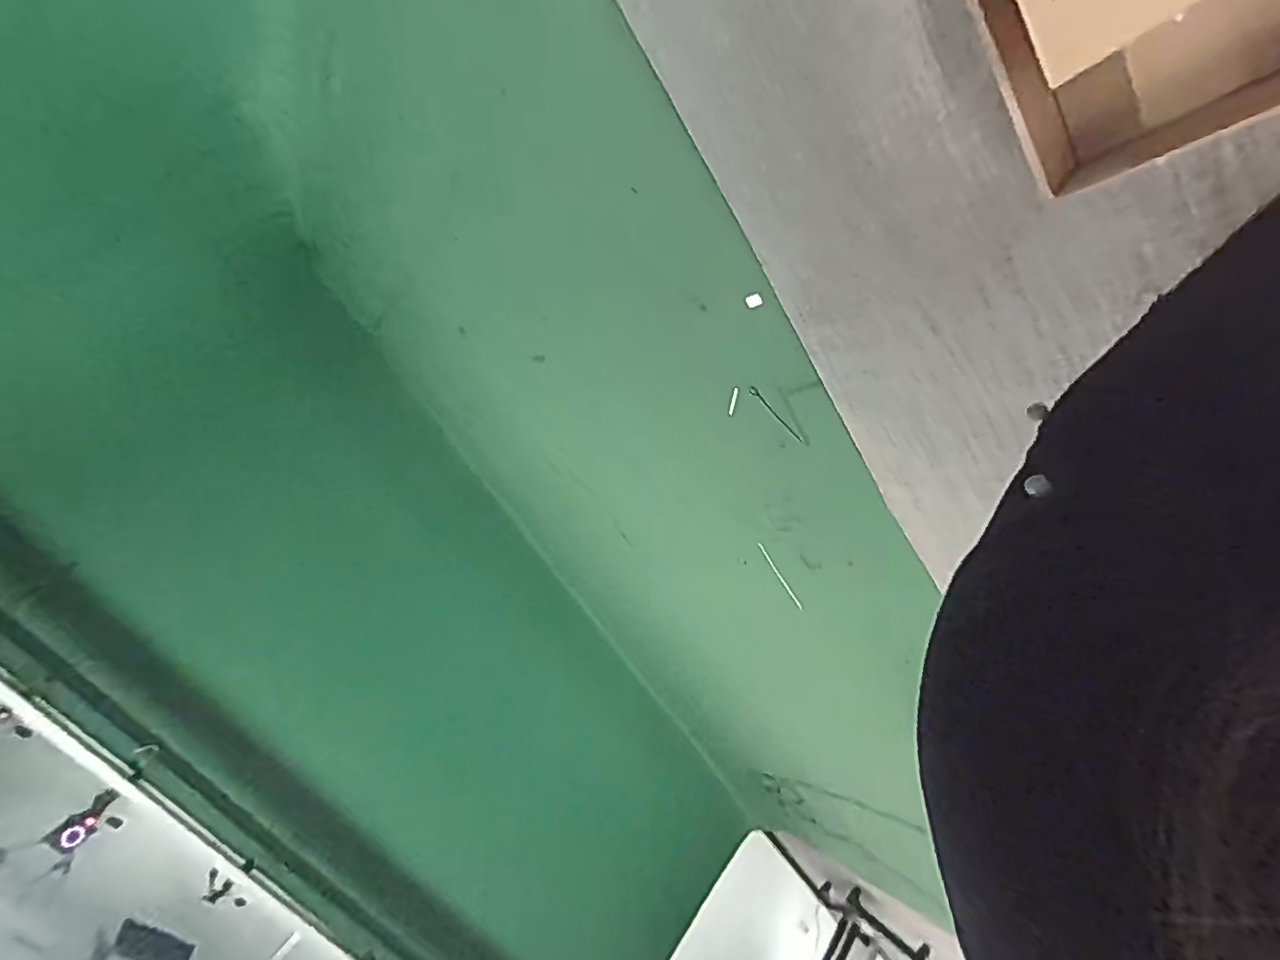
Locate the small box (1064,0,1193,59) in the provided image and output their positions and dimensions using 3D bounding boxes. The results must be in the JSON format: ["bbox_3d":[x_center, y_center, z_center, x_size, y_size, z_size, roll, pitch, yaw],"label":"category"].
[{"bbox_3d":[0.579,-0.622,0.590,0.168,0.176,0.179,-3,125,55],"label":"small box"}]
